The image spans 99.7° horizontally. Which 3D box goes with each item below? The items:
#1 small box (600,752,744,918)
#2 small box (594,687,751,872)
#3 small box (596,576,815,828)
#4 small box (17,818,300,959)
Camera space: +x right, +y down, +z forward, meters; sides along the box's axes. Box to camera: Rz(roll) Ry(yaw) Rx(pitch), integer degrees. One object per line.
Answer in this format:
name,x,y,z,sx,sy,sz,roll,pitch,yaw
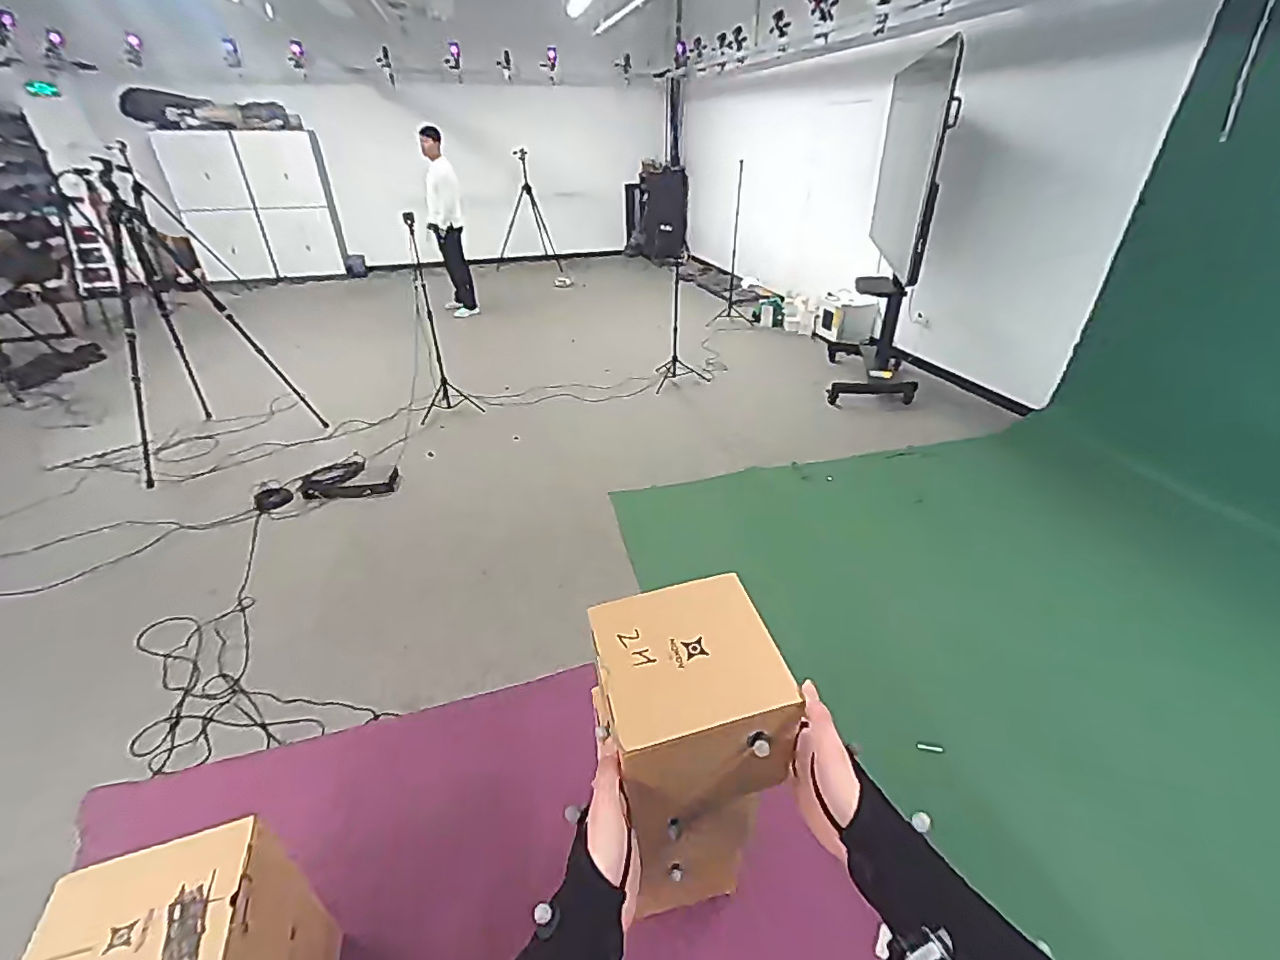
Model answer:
small box,0.038,0.513,0.811,0.179,0.176,0.168,-7,33,-10
small box,0.041,0.379,0.715,0.179,0.176,0.168,-7,33,-10
small box,0.057,0.234,0.579,0.179,0.176,0.168,-11,39,-10
small box,-0.466,0.484,0.535,0.179,0.176,0.168,-10,33,-17
